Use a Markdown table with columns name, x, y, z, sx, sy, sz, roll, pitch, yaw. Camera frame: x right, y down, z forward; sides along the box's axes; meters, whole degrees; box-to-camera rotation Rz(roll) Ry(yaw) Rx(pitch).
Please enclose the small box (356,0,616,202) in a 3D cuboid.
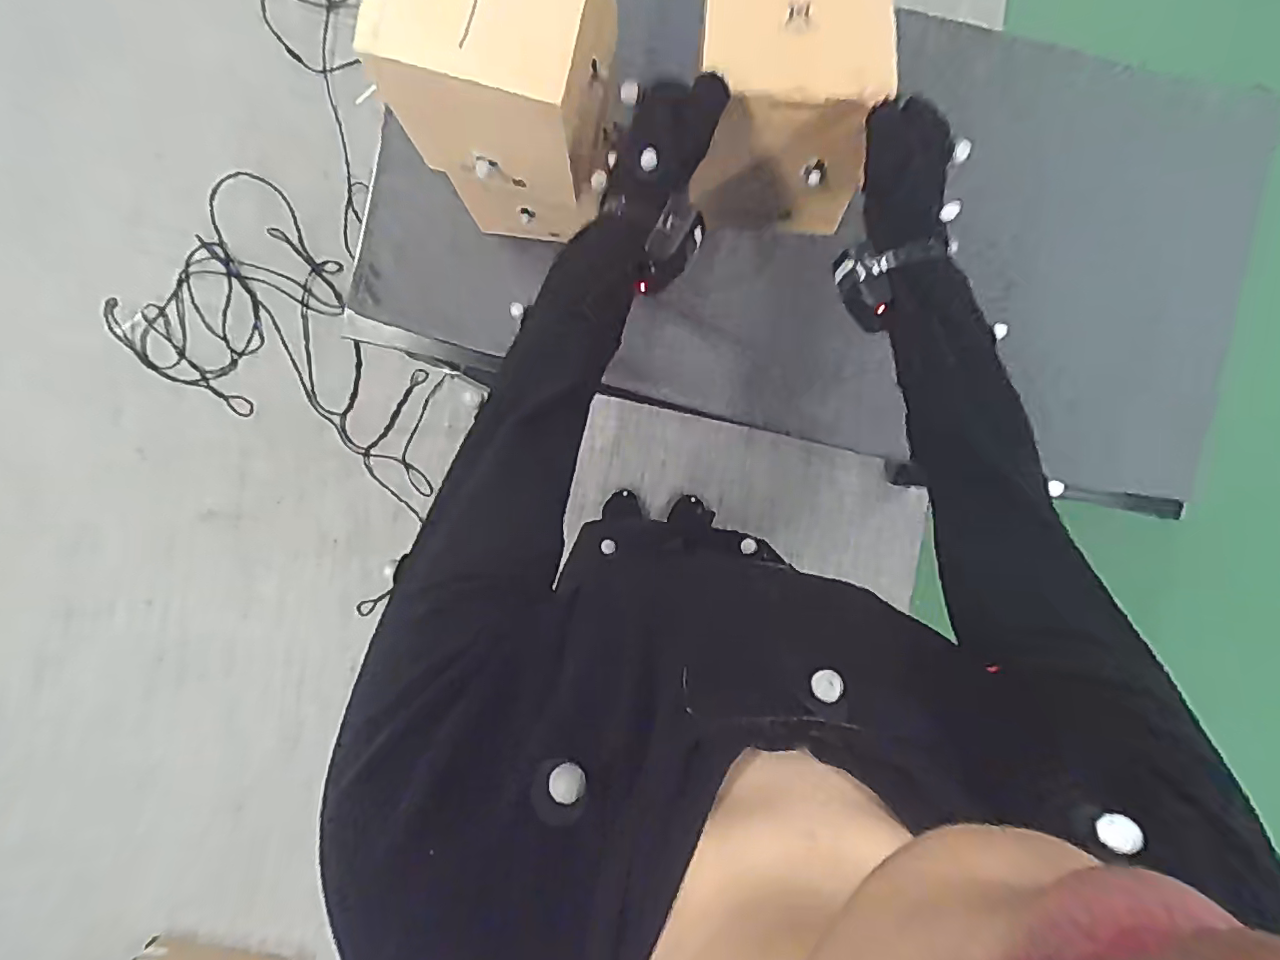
| name | x | y | z | sx | sy | sz | roll | pitch | yaw |
| --- | --- | --- | --- | --- | --- | --- | --- | --- | --- |
| small box | -0.119 | -0.393 | 0.490 | 0.168 | 0.176 | 0.179 | 14 | 92 | -2 |
